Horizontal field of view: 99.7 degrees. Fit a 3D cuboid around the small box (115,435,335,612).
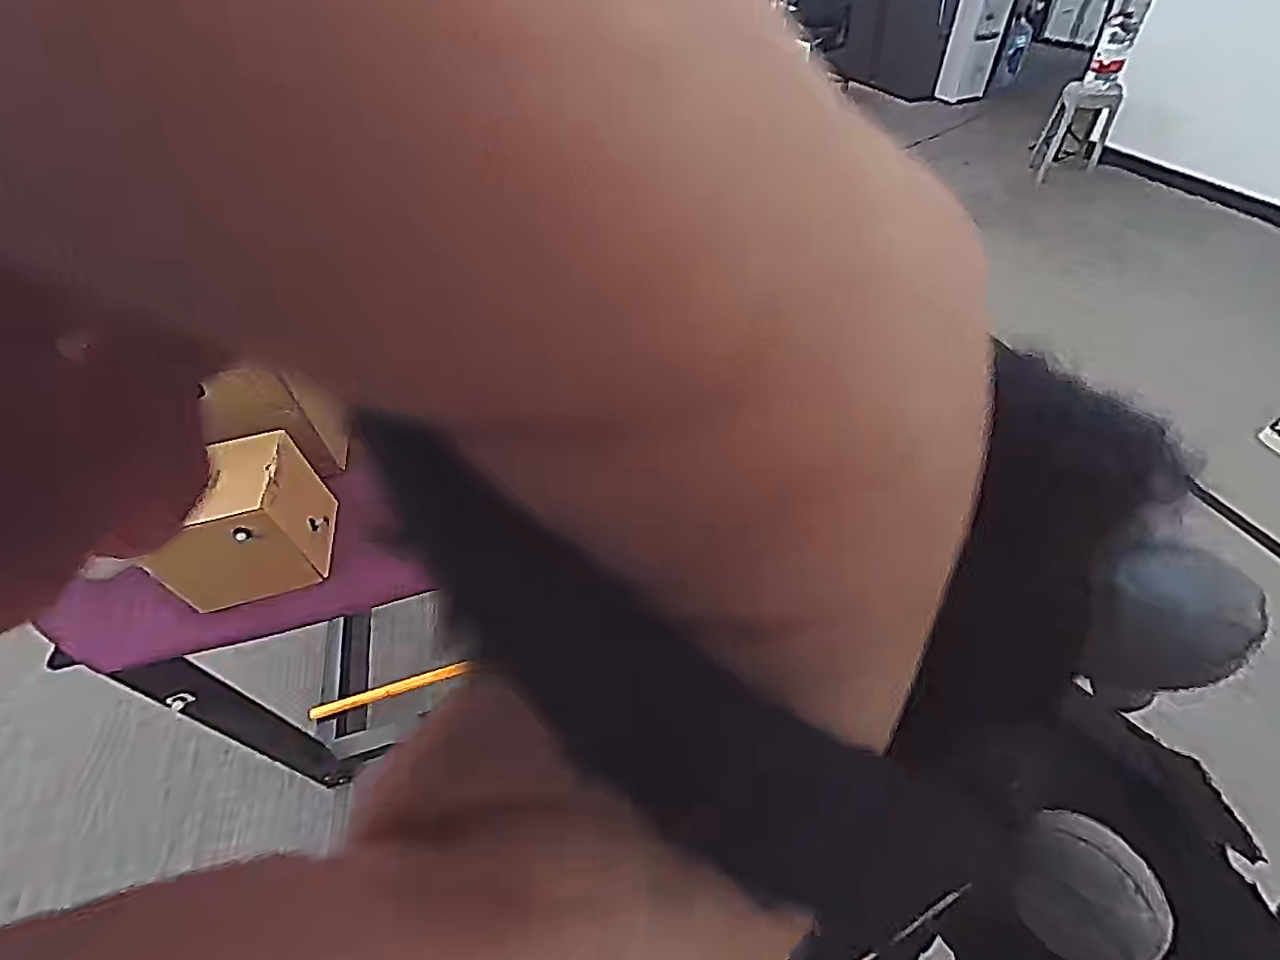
[{"bbox_3d":[-0.580,0.066,0.787,0.179,0.176,0.168,-15,47,-9],"label":"small box"}]
